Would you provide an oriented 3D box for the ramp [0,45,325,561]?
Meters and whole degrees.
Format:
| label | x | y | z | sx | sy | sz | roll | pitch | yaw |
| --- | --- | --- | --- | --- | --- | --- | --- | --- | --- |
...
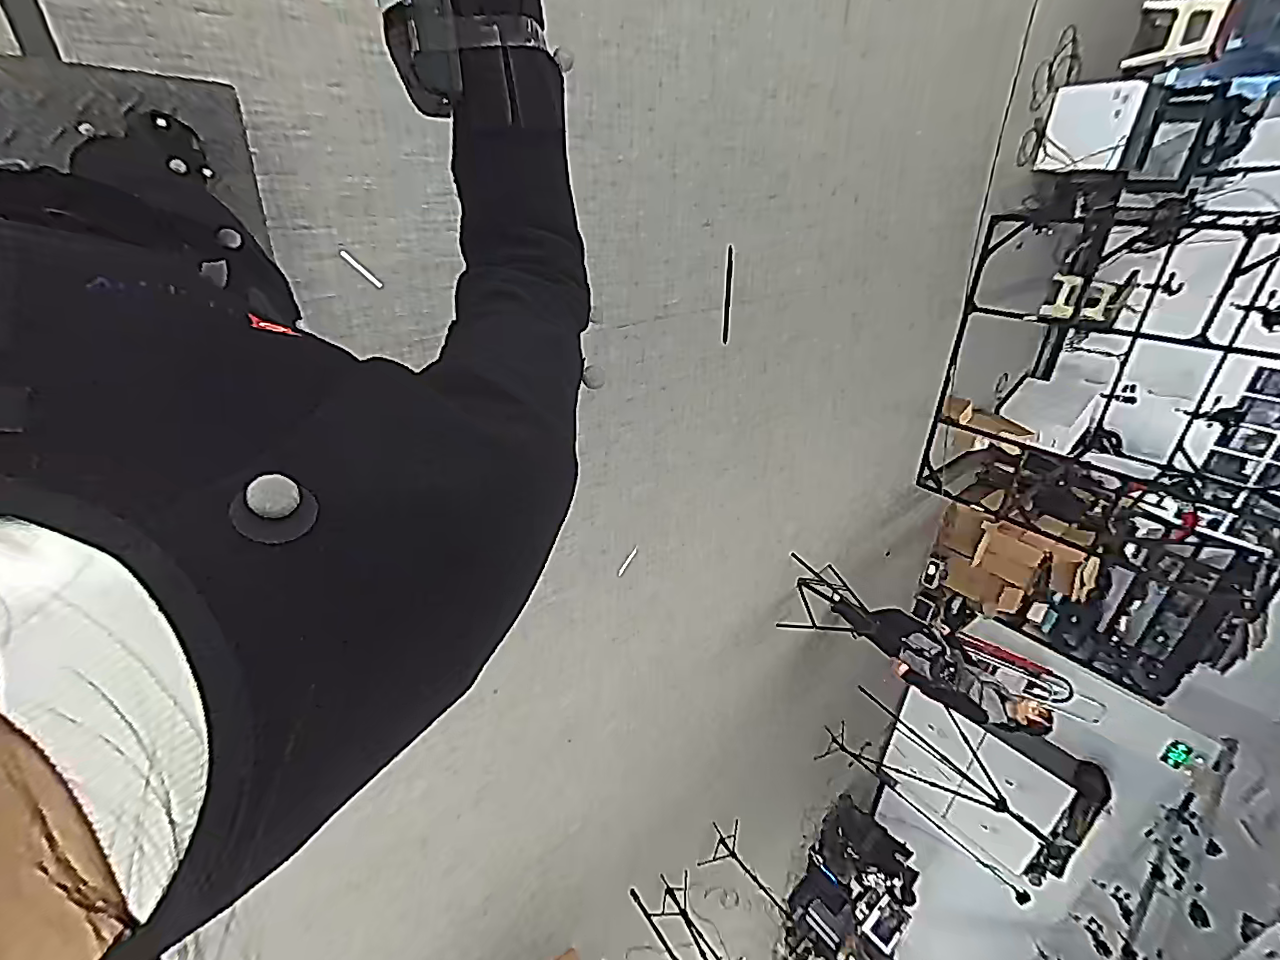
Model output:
| label | x | y | z | sx | sy | sz | roll | pitch | yaw |
| --- | --- | --- | --- | --- | --- | --- | --- | --- | --- |
| ramp | -1.011 | -0.271 | 1.126 | 0.509 | 0.206 | 0.991 | -21 | 126 | -35 |
